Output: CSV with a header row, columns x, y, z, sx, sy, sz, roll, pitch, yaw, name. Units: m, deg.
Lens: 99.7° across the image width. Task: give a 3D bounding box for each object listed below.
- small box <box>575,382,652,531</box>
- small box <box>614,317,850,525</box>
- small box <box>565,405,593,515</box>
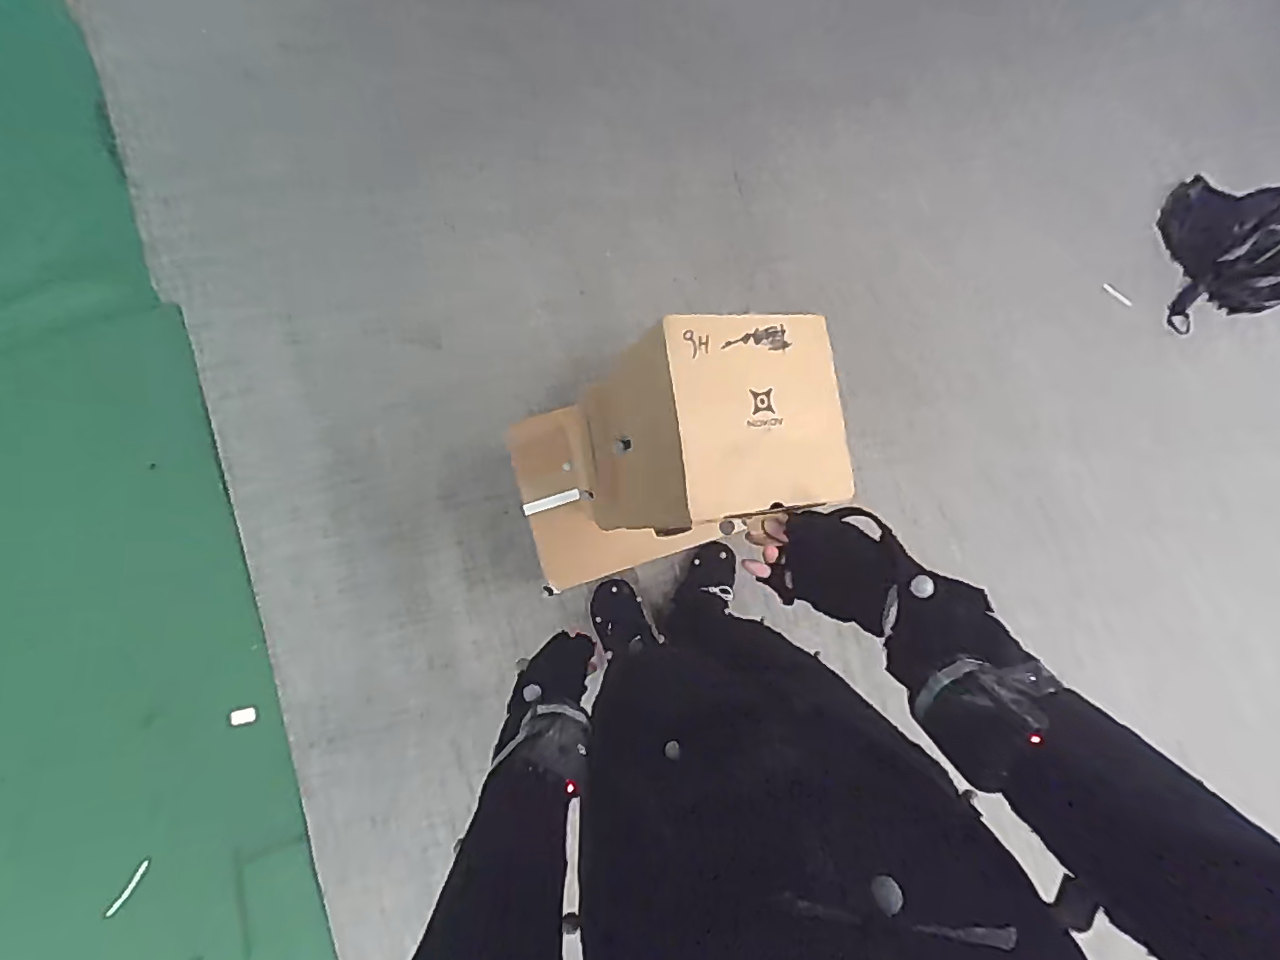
x,y,z,sx,sy,sz,roll,pitch,yaw,name
0.009,-0.037,0.729,0.168,0.176,0.179,-10,90,-10,small box
0.080,-0.049,0.546,0.168,0.176,0.179,-5,86,-21,small box
-0.023,-0.040,0.885,0.179,0.176,0.168,-10,90,-9,small box
